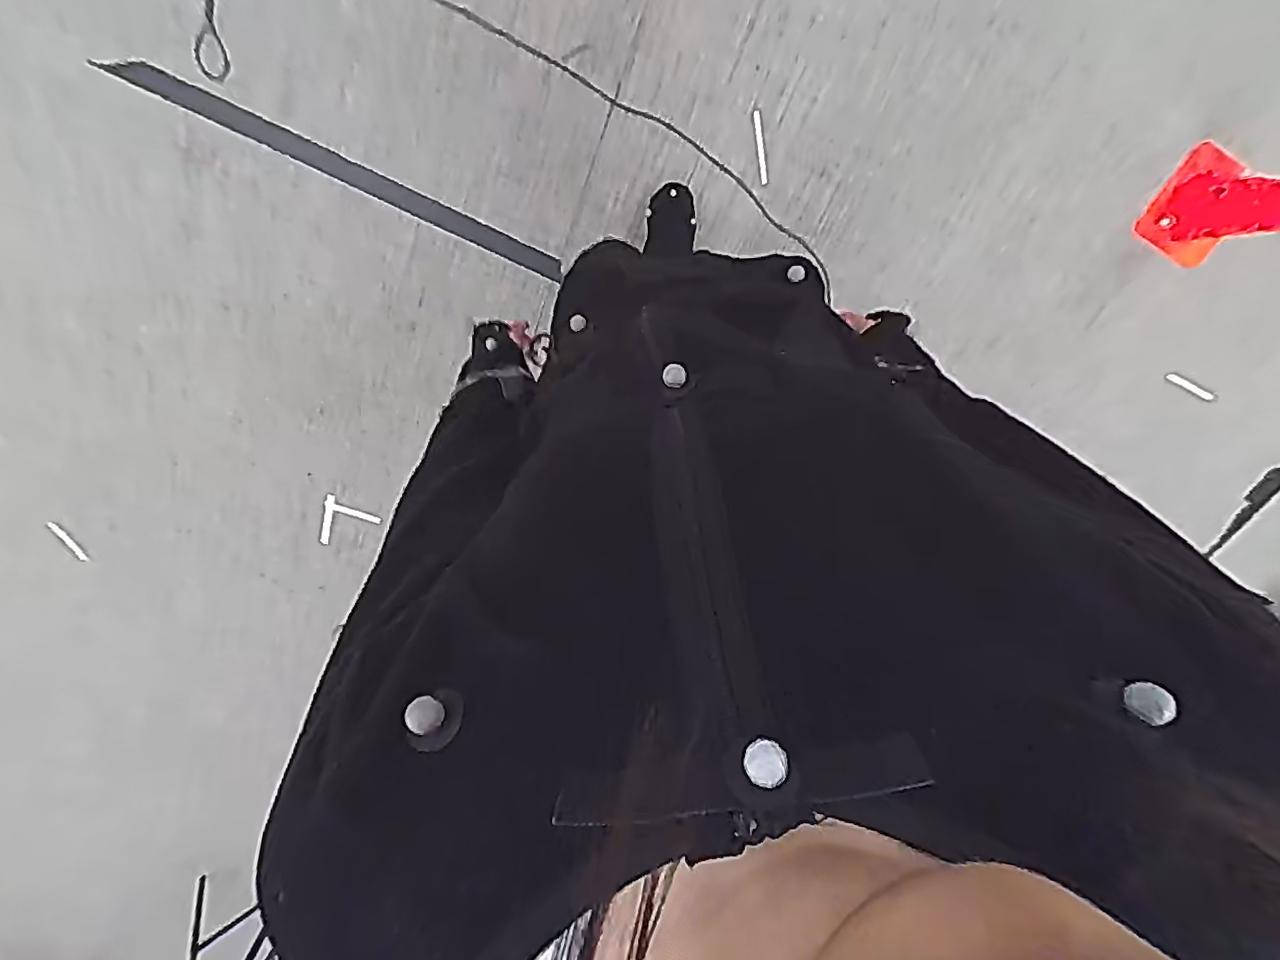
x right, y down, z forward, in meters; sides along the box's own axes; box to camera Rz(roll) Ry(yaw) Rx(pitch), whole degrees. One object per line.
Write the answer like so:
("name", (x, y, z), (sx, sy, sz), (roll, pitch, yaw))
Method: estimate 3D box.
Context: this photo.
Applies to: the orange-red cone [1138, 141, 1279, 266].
("orange-red cone", (1.235, -0.526, 1.037), (0.199, 0.360, 0.198), (25, 114, -13))
